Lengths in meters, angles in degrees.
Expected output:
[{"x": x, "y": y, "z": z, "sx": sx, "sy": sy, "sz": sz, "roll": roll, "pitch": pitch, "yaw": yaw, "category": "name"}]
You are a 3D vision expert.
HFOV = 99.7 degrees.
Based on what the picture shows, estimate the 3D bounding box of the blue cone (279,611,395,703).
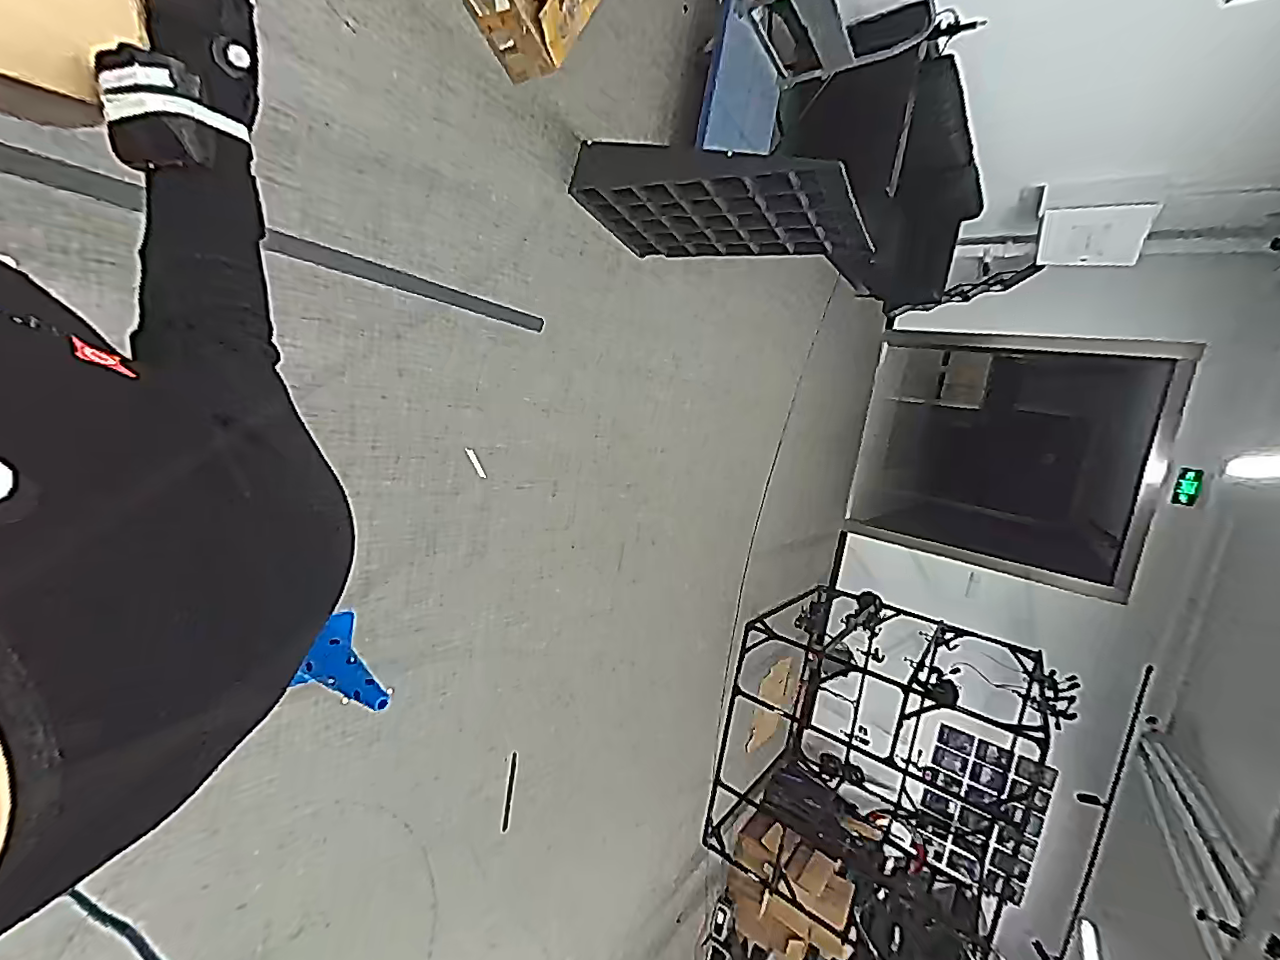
[{"x": -0.800, "y": 0.515, "z": 1.474, "sx": 0.192, "sy": 0.380, "sz": 0.193, "roll": 5, "pitch": 98, "yaw": -57, "category": "blue cone"}]

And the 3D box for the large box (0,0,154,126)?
[{"x": -0.556, "y": -0.430, "z": 0.269, "sx": 0.408, "sy": 0.320, "sz": 0.320, "roll": -10, "pitch": 117, "yaw": -54, "category": "large box"}]
